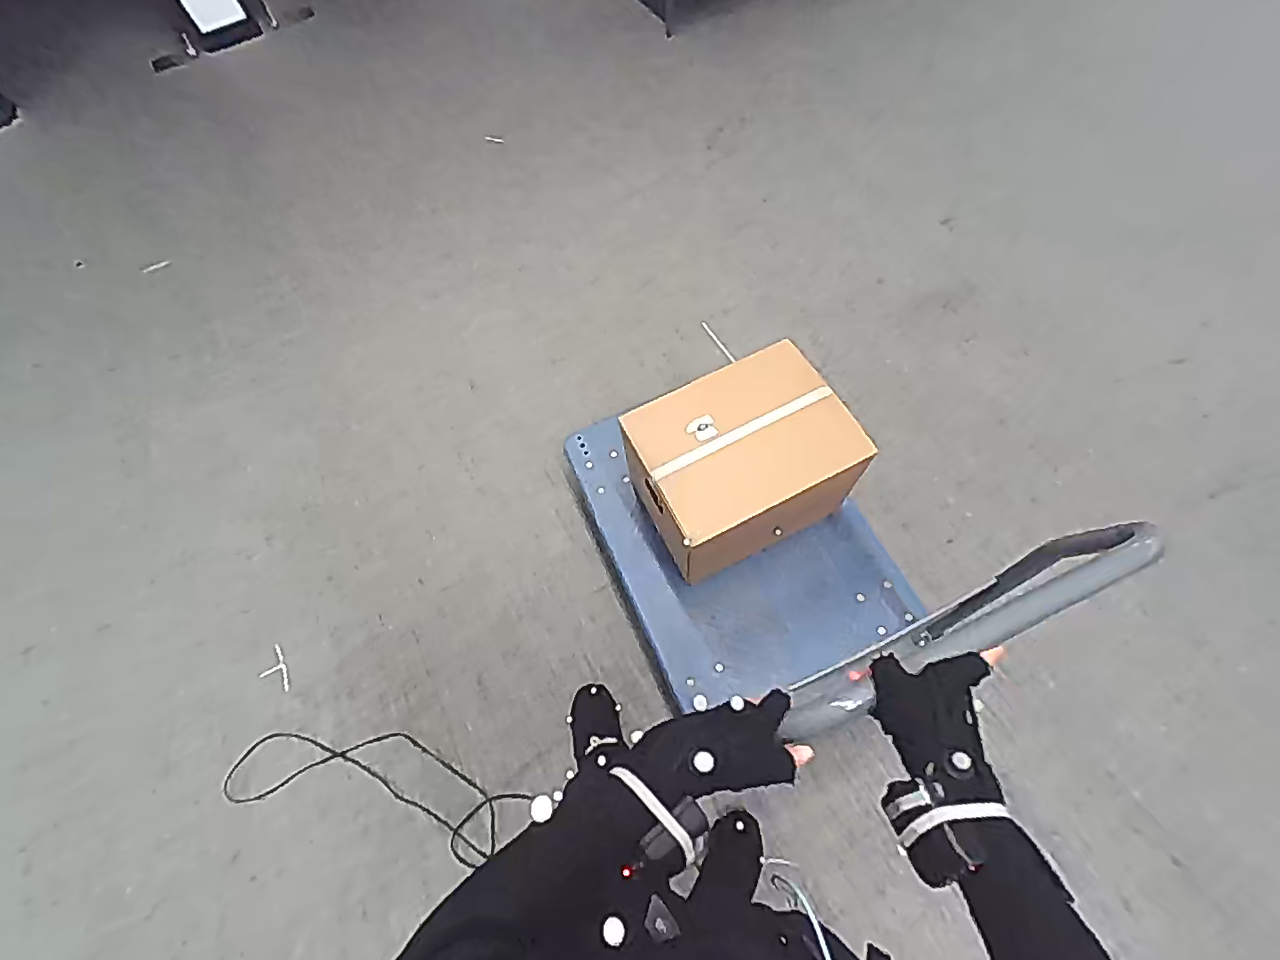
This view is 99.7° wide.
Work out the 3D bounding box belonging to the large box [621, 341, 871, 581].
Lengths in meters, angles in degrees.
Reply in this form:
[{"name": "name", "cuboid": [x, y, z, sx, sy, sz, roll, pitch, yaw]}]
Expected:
[{"name": "large box", "cuboid": [0.216, -0.029, 1.201, 0.408, 0.320, 0.320, -28, 66, -7]}]
